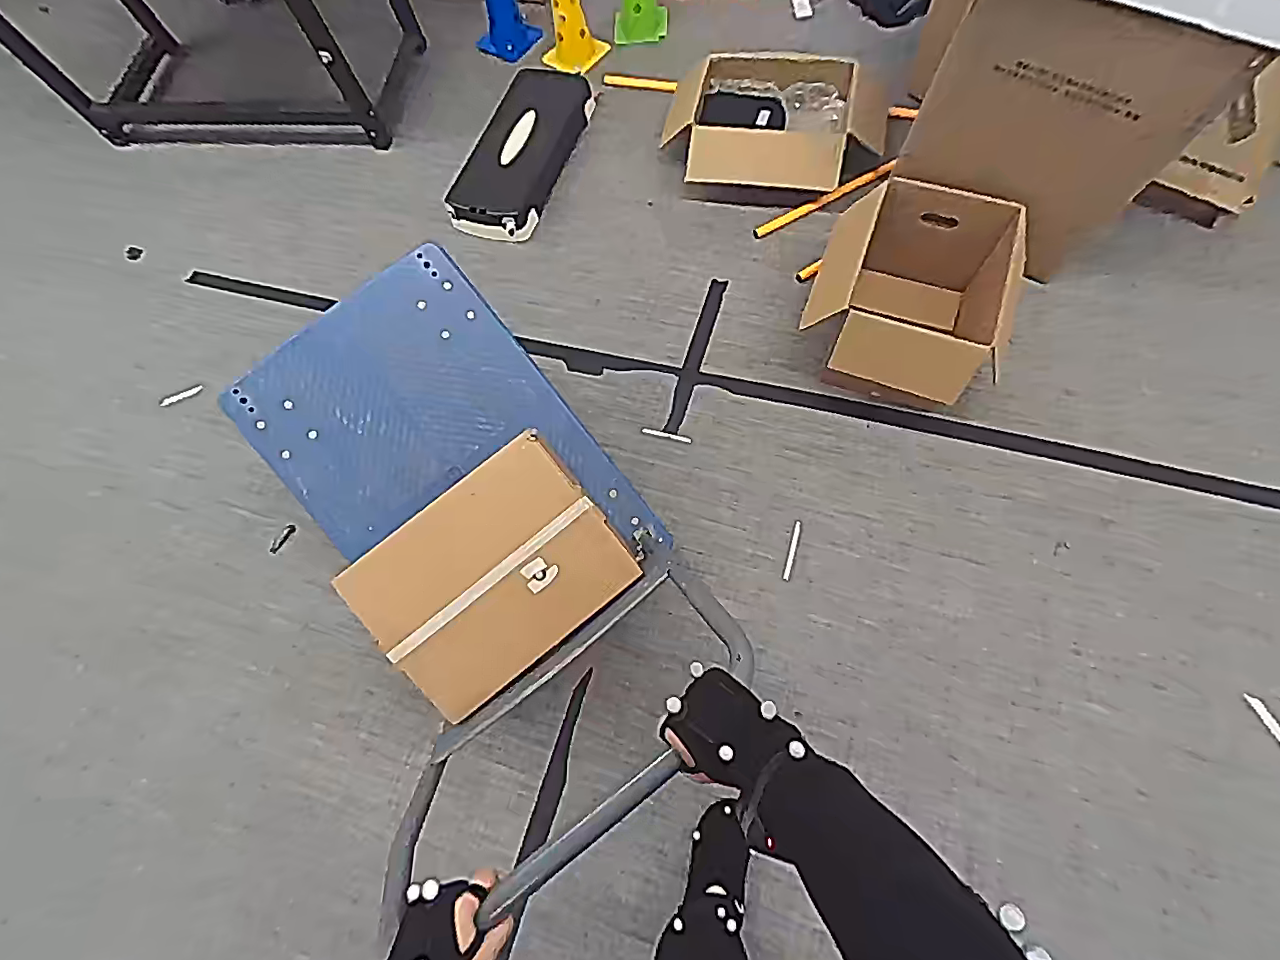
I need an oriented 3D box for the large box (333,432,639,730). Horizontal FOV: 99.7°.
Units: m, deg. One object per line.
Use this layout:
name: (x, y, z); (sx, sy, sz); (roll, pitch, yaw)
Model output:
large box: (-0.260, 0.166, 1.025); (0.408, 0.320, 0.320); (-39, 94, -5)
